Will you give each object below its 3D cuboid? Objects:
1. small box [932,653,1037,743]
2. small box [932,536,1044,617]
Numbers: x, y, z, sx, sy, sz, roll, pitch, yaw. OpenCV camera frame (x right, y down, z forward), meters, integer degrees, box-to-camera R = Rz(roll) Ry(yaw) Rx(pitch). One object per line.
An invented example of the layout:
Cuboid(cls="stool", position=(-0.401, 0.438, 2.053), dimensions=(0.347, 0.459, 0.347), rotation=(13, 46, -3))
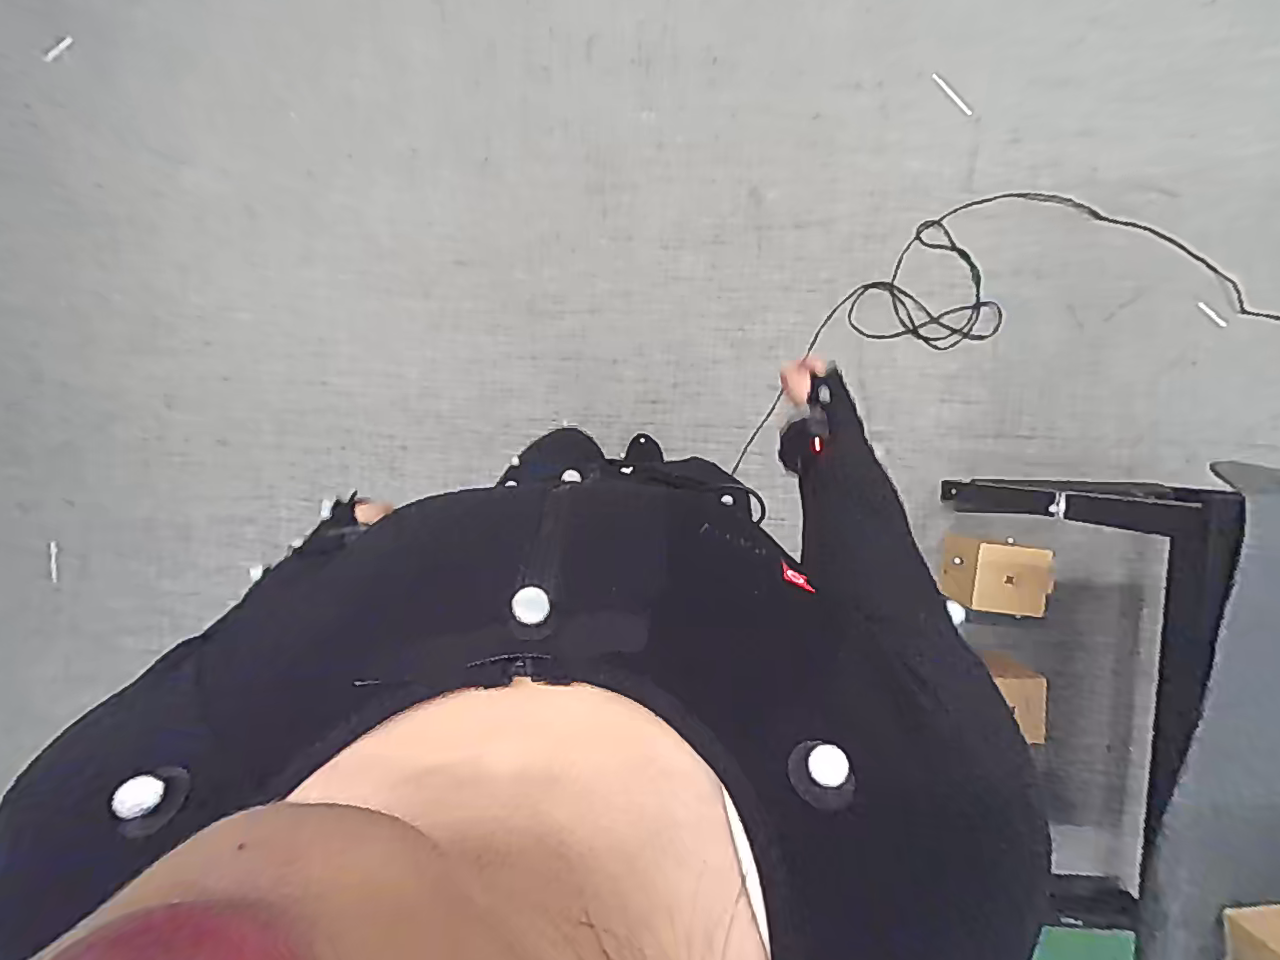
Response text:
Cuboid(cls="small box", position=(0.885, 0.558, 1.403), dimensions=(0.179, 0.176, 0.168), rotation=(0, 94, 1))
Cuboid(cls="small box", position=(0.883, 0.240, 1.389), dimensions=(0.179, 0.176, 0.168), rotation=(6, 93, 1))
